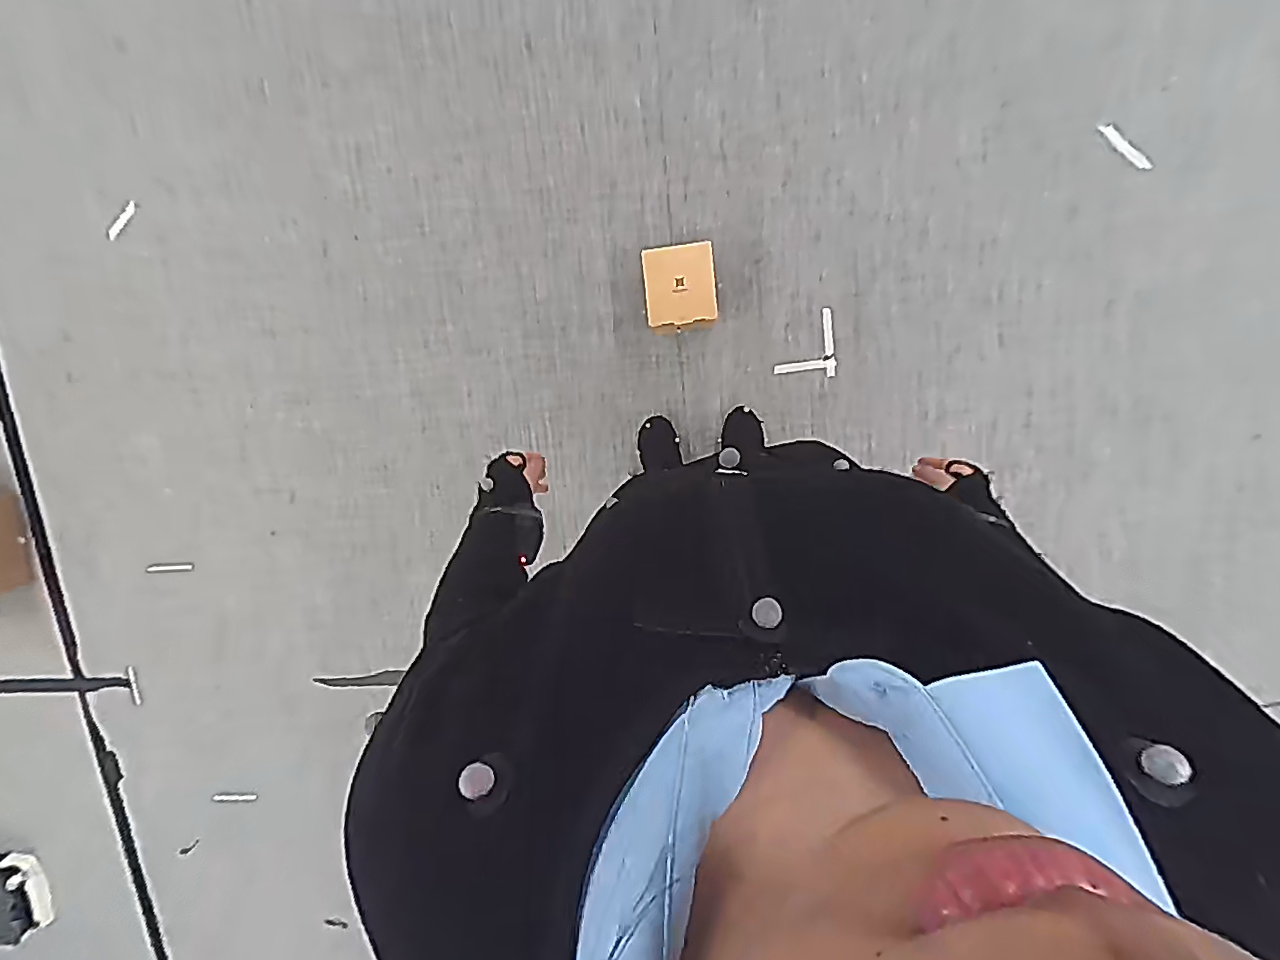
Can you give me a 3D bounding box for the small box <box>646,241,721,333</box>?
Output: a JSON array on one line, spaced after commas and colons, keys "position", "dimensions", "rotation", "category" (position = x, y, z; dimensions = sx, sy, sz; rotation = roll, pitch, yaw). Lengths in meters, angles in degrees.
[{"position": [0.107, -0.470, 1.338], "dimensions": [0.168, 0.176, 0.179], "rotation": [-6, 99, 6], "category": "small box"}]
